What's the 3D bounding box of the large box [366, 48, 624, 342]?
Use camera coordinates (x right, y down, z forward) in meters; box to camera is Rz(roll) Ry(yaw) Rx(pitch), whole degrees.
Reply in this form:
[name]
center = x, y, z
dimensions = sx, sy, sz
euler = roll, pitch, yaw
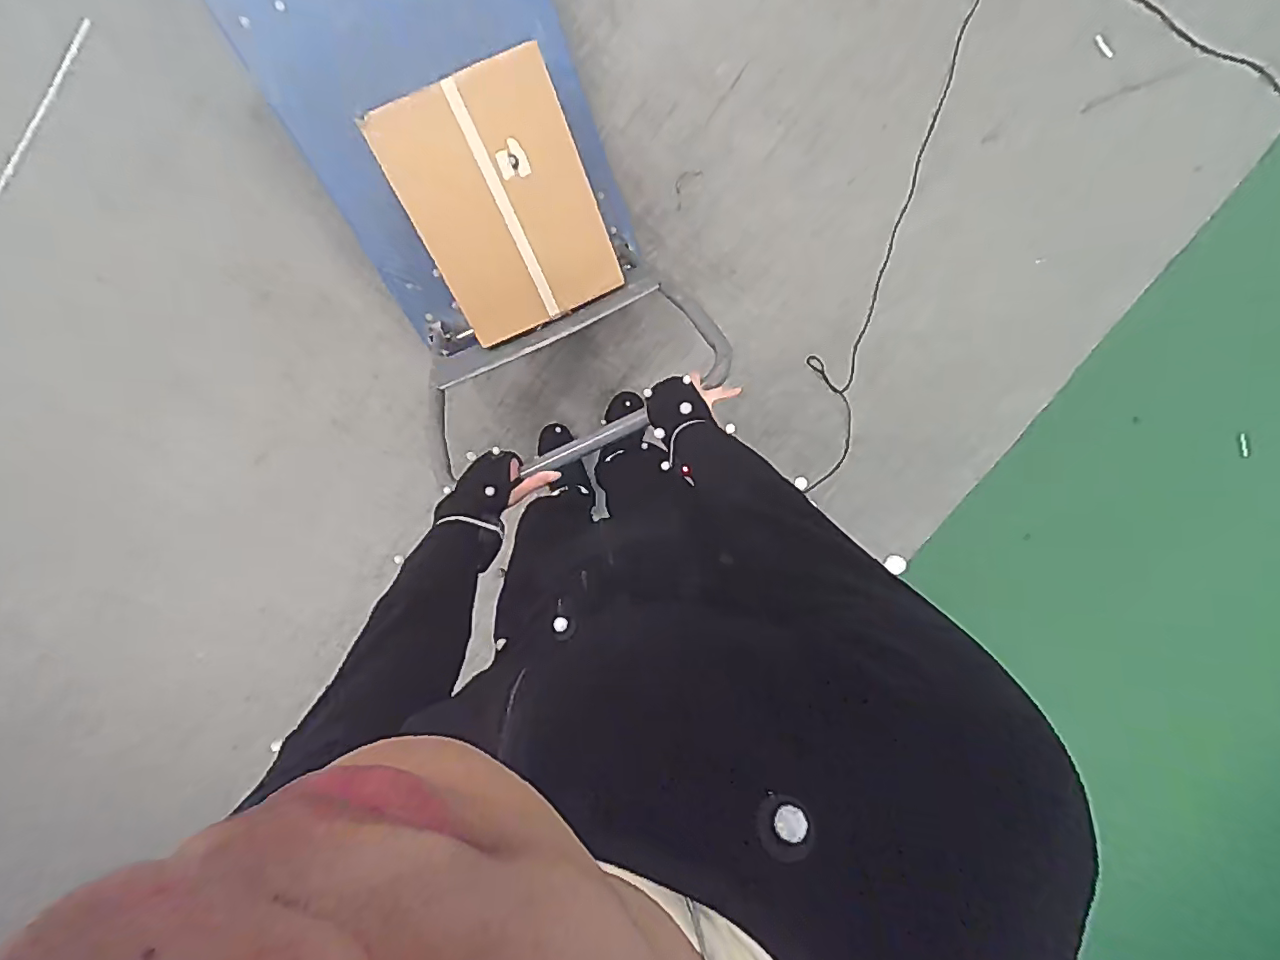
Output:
[large box]
center = -0.270, -0.560, 1.103
dimensions = 0.320, 0.320, 0.408
euler = -25, 123, -1
